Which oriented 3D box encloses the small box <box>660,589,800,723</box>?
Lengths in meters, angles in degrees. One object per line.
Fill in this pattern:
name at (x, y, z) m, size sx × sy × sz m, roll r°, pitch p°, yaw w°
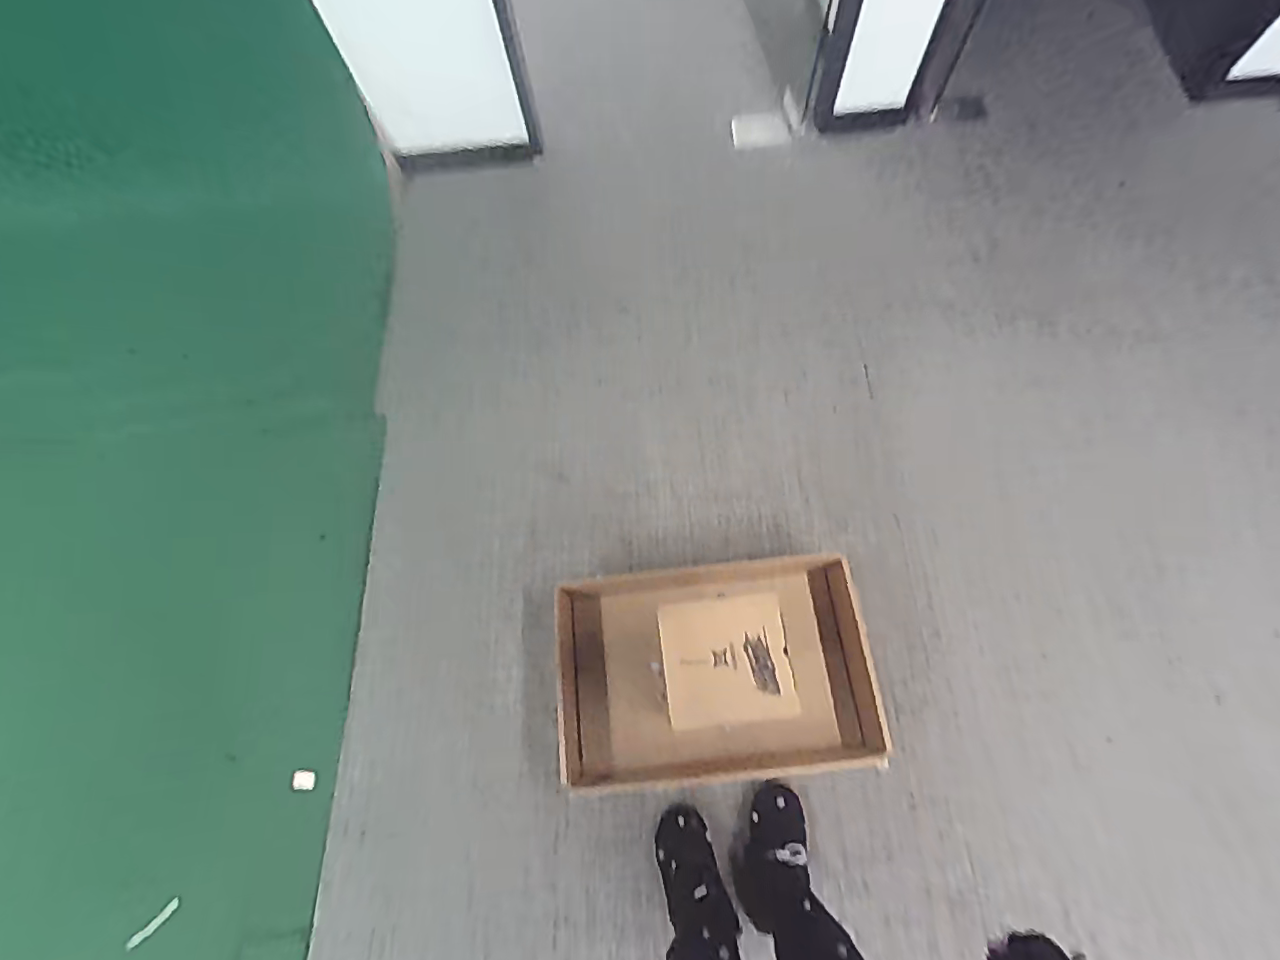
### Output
small box at (0.125, 0.268, 0.826) m, size 0.179 × 0.176 × 0.168 m, roll -7°, pitch 70°, yaw 1°
